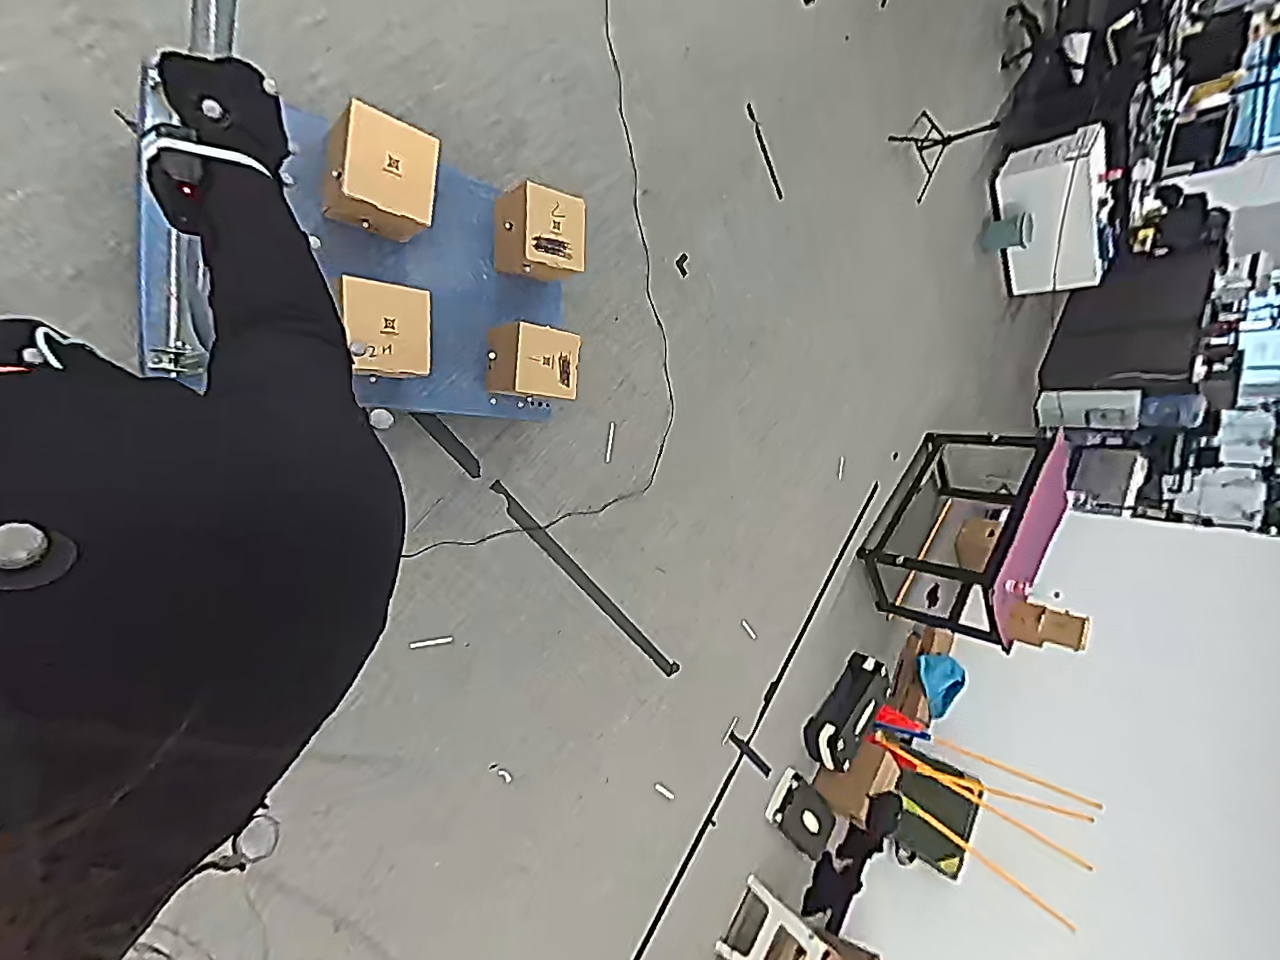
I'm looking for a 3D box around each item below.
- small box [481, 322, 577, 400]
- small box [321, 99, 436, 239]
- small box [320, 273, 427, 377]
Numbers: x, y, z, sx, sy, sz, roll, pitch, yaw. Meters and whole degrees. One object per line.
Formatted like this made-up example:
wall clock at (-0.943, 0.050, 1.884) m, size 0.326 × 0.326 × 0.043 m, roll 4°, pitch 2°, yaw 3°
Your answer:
small box at (-0.286, -0.299, 1.388) m, size 0.179 × 0.176 × 0.168 m, roll 2°, pitch 95°, yaw -41°
small box at (-0.540, -0.622, 1.109) m, size 0.168 × 0.176 × 0.179 m, roll 4°, pitch 95°, yaw -43°
small box at (-0.562, -0.314, 1.136) m, size 0.168 × 0.176 × 0.179 m, roll -3°, pitch 98°, yaw -42°
